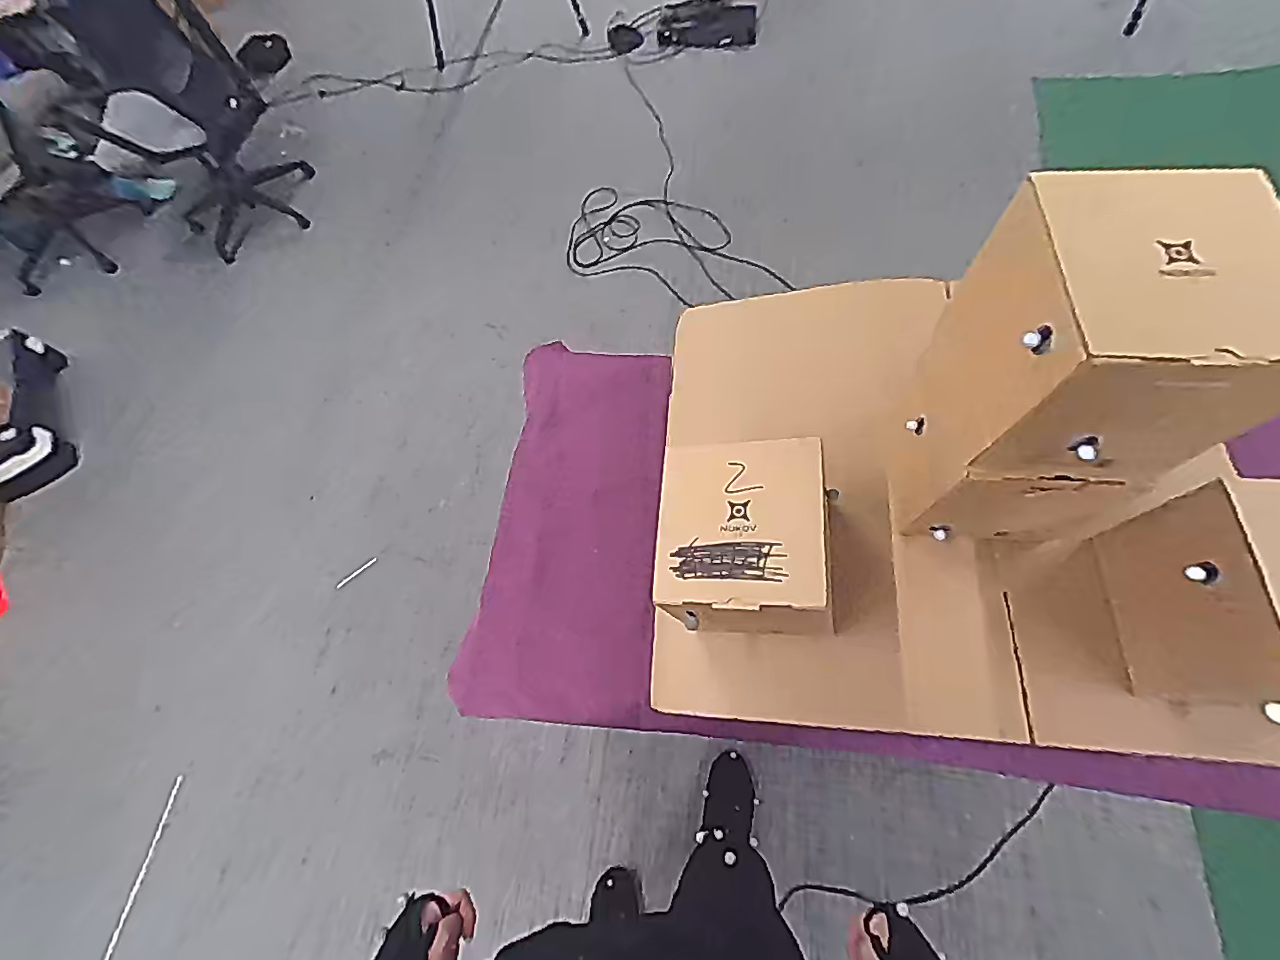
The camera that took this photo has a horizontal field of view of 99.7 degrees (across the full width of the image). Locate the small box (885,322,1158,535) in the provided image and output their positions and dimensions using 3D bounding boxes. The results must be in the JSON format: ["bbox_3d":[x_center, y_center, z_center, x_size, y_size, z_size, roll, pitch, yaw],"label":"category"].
[{"bbox_3d":[0.385,-0.048,0.587,0.168,0.176,0.179,3,65,4],"label":"small box"}]

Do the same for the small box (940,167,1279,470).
[{"bbox_3d":[0.373,-0.122,0.443,0.168,0.176,0.179,2,67,4],"label":"small box"}]

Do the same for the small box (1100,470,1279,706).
[{"bbox_3d":[0.584,0.108,0.503,0.168,0.176,0.179,3,66,6],"label":"small box"}]
